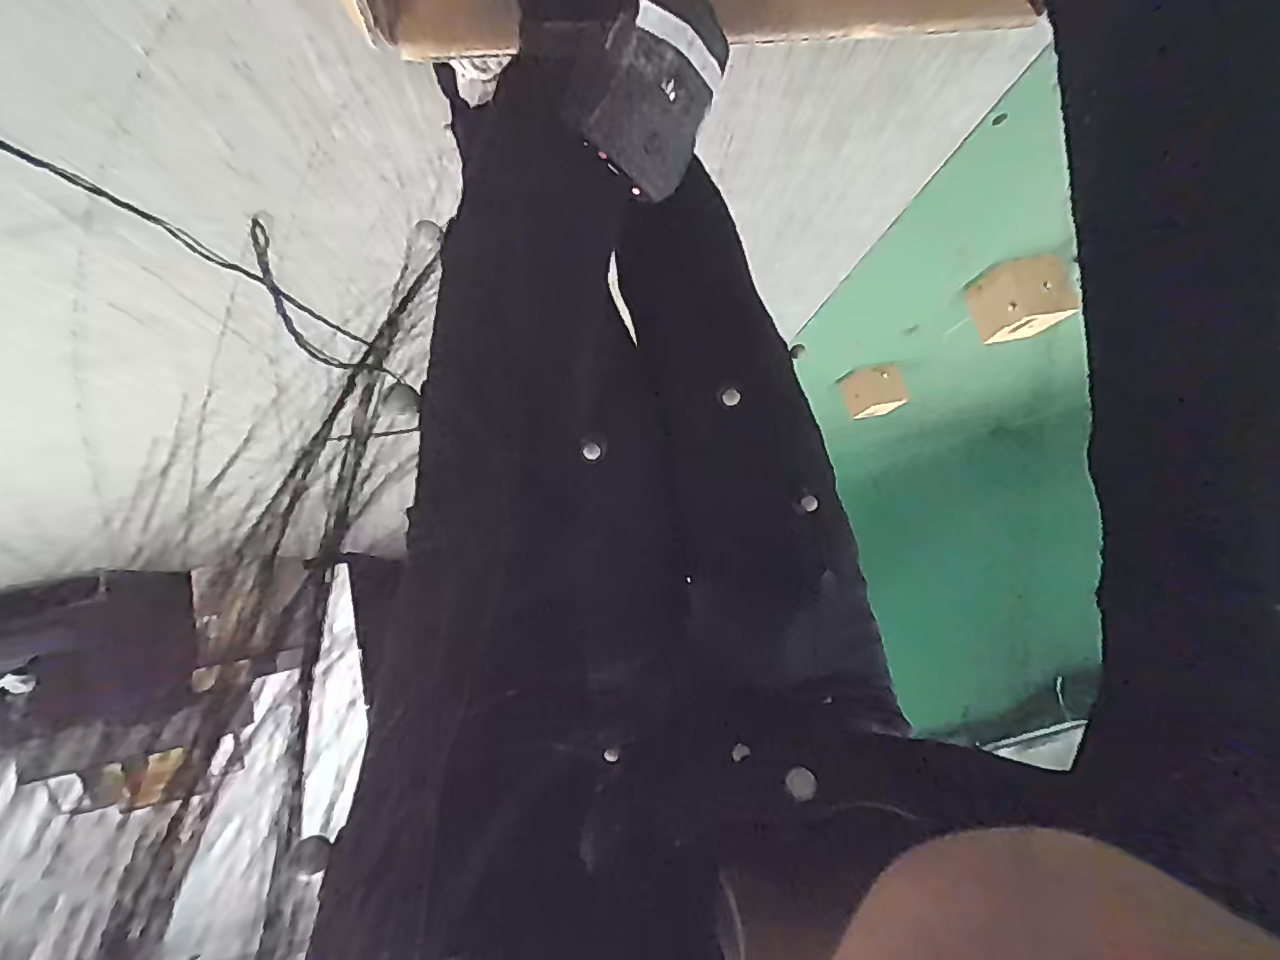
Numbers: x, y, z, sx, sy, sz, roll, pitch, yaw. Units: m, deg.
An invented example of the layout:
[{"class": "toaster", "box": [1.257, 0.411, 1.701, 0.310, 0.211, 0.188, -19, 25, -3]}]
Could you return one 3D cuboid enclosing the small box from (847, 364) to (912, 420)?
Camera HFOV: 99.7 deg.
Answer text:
[{"class": "small box", "box": [0.969, -0.358, 2.204, 0.168, 0.176, 0.179, -10, 171, -9]}]
